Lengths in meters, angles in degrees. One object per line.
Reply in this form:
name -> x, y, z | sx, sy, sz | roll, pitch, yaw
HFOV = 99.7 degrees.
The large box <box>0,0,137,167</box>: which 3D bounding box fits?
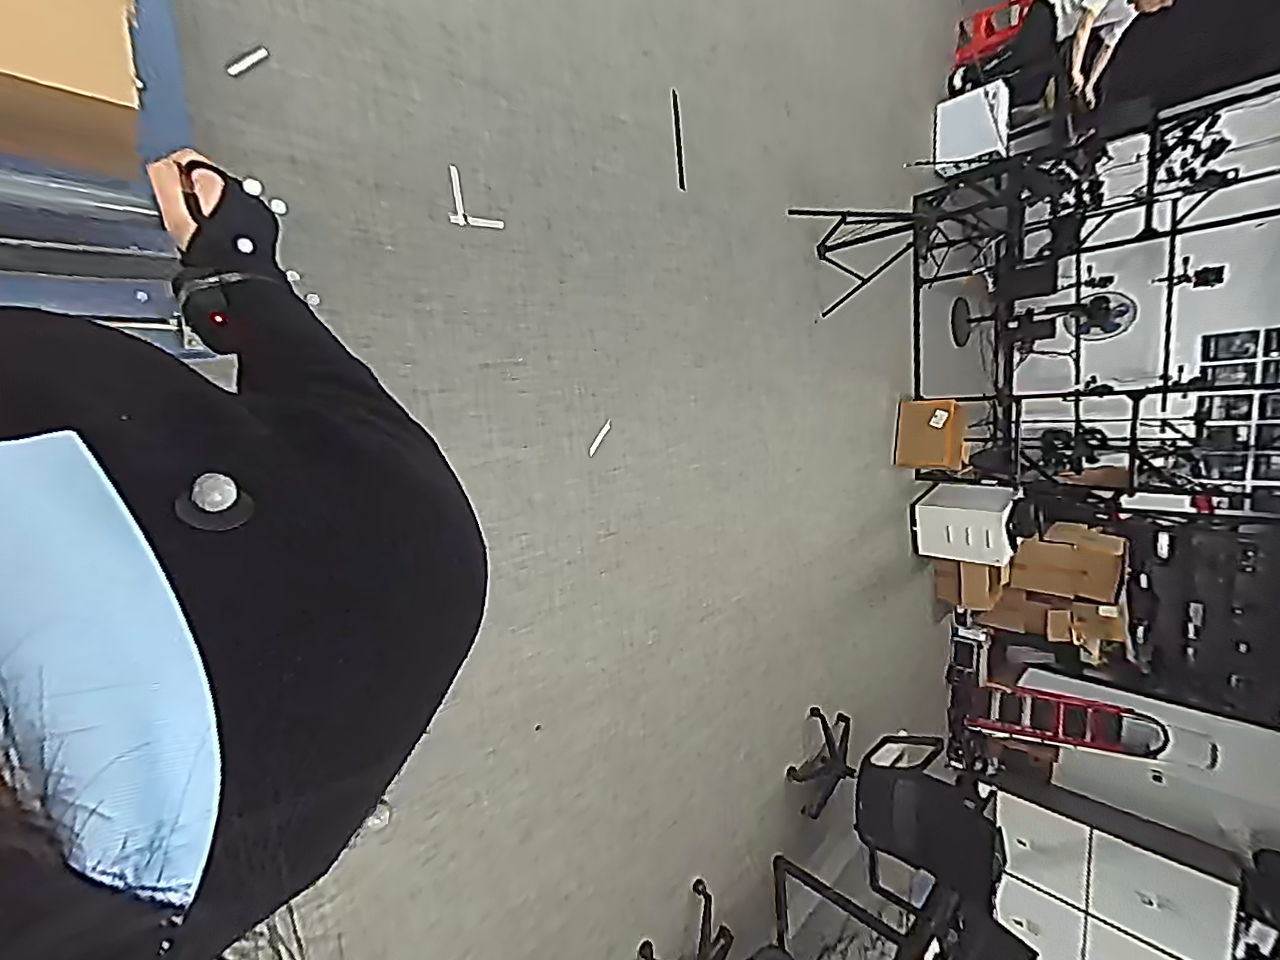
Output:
large box -> -0.947, -0.663, 0.698 | 0.408, 0.320, 0.320 | -8, 98, -42
